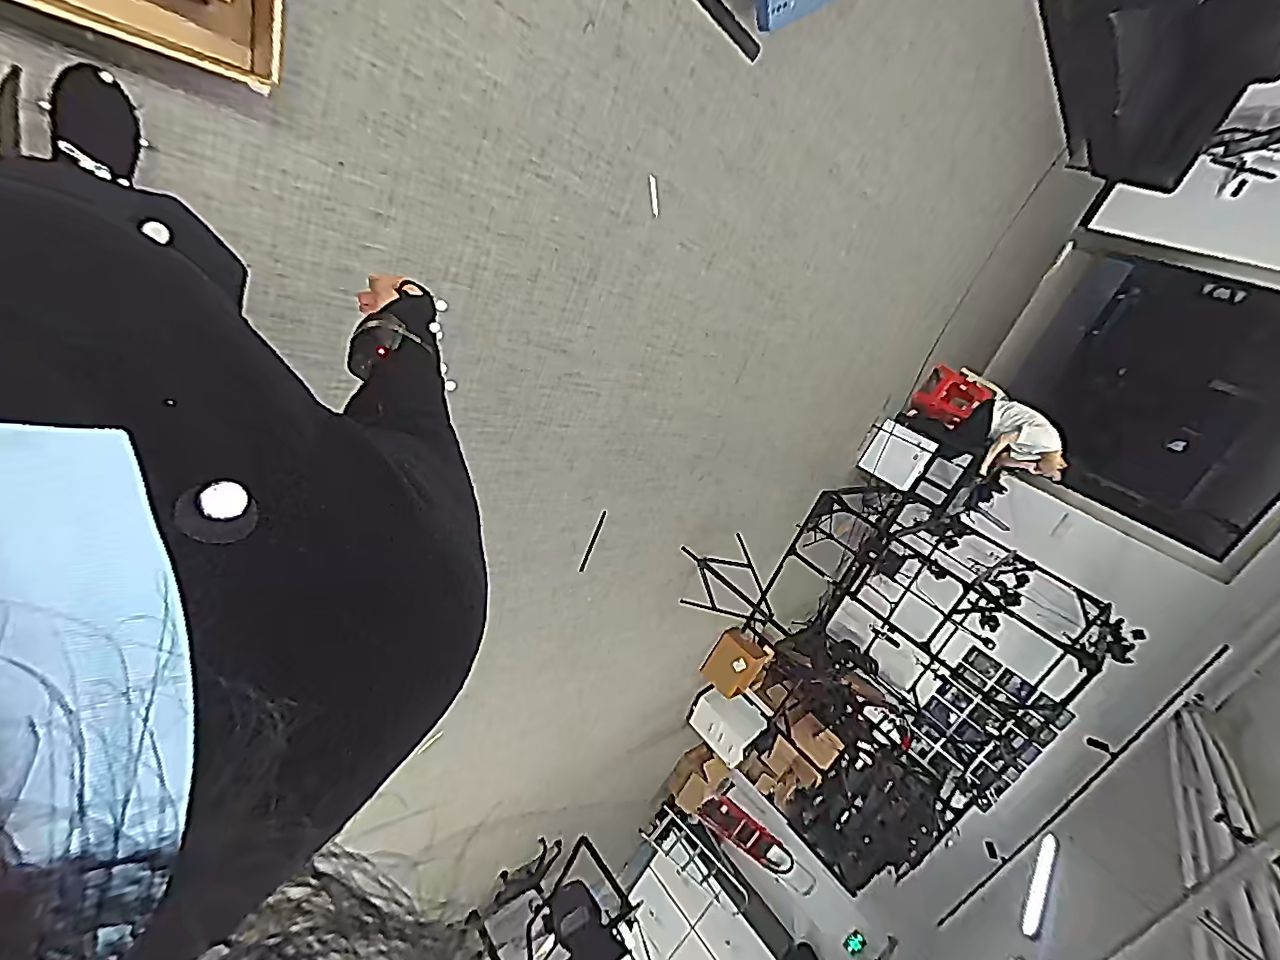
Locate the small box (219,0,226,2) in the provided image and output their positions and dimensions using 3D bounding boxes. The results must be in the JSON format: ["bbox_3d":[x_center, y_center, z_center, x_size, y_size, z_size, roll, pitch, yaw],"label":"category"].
[{"bbox_3d":[-0.714,-0.847,0.789,0.168,0.176,0.179,-6,124,-47],"label":"small box"}]
